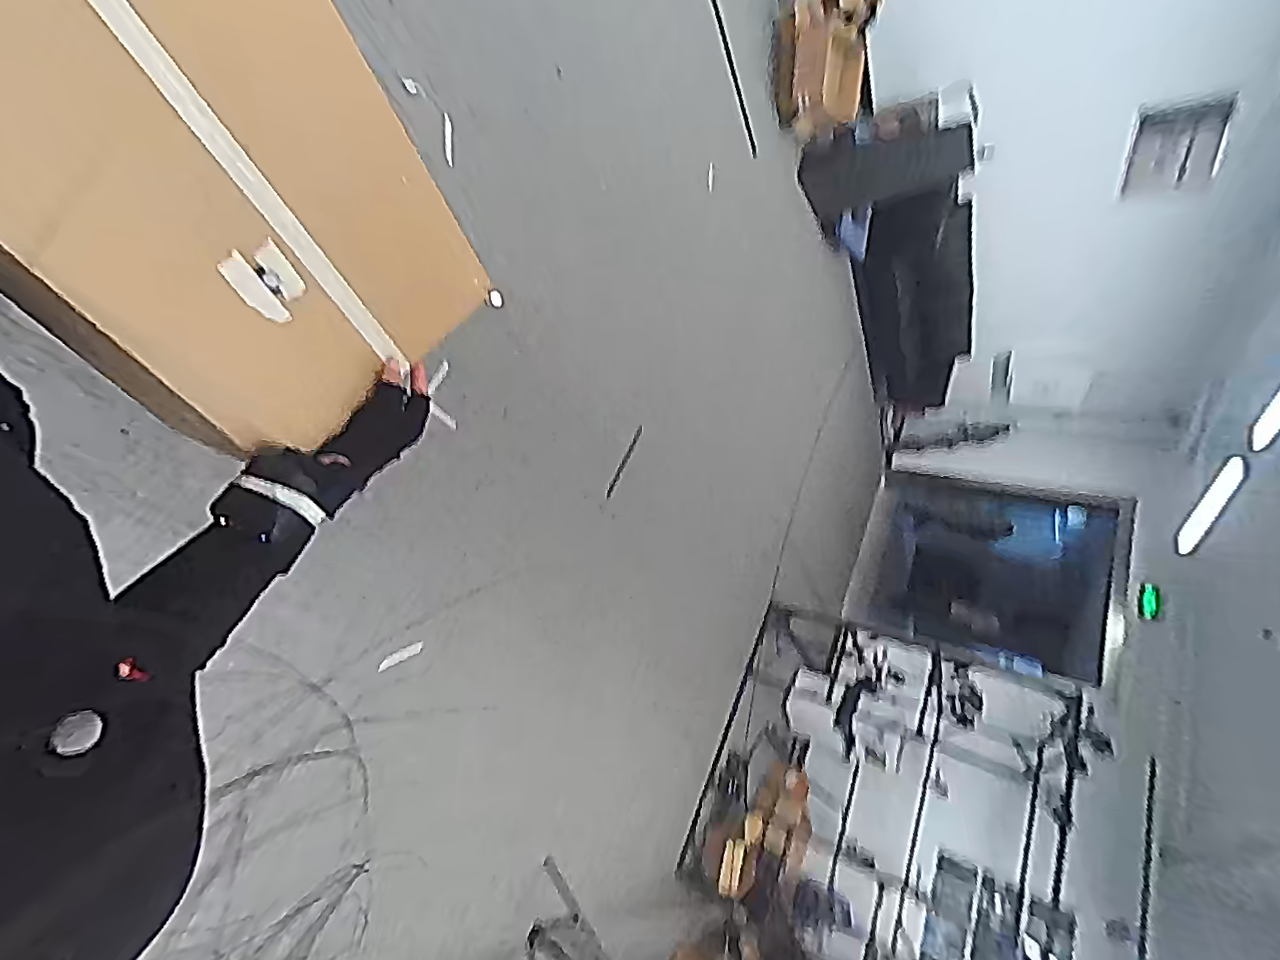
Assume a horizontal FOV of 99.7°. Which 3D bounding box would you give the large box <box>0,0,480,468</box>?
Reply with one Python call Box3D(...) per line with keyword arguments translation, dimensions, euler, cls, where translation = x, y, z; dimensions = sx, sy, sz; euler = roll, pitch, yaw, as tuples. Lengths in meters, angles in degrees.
Box3D(translation=(-0.449, -0.275, 0.525), dimensions=(0.320, 0.320, 0.408), euler=(-55, 141, -27), cls="large box")
